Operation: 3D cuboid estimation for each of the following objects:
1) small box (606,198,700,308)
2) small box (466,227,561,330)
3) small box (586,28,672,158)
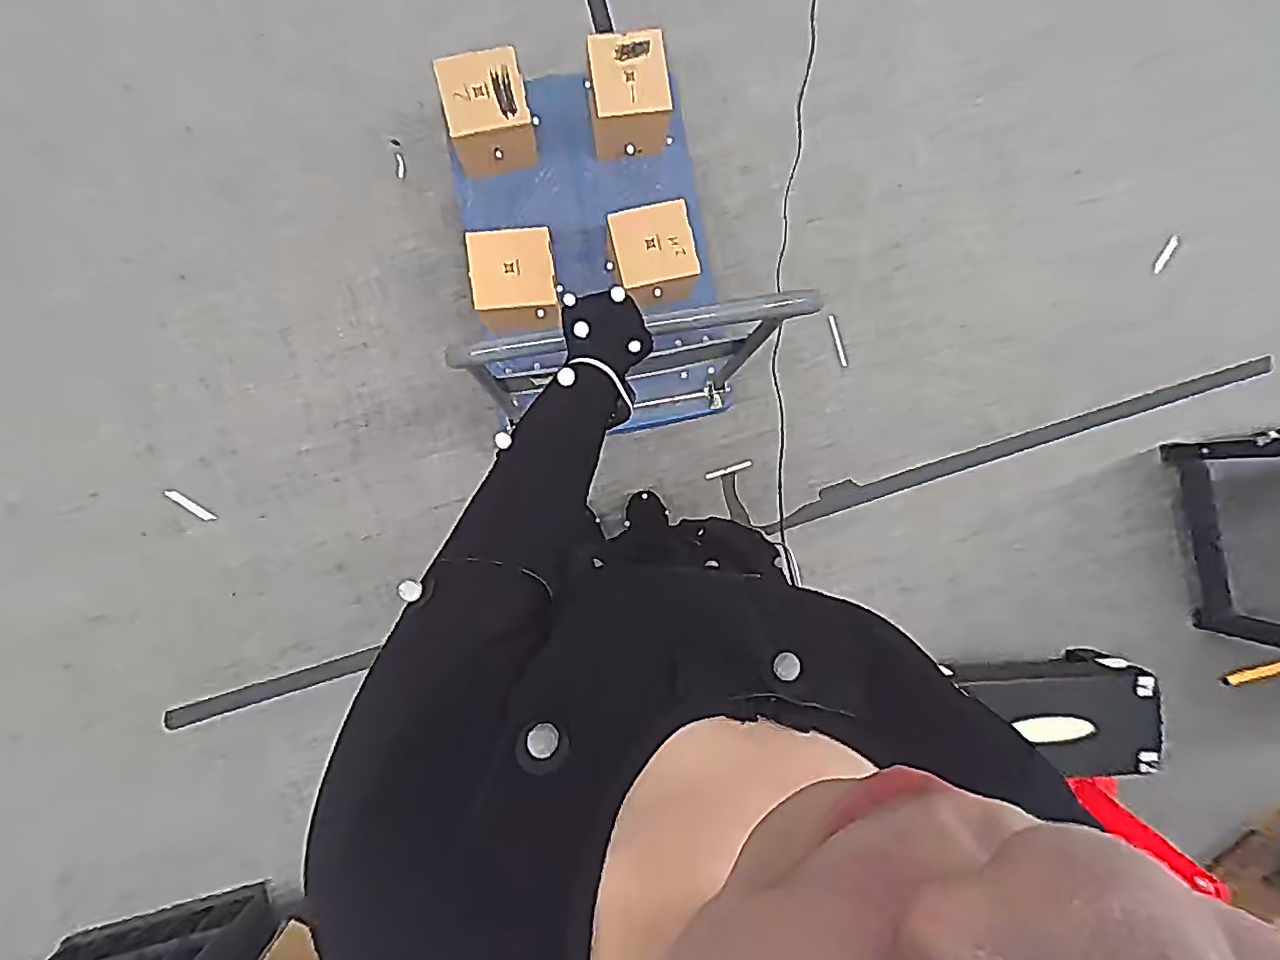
[{"bbox_3d":[0.024,-0.511,1.244,0.179,0.176,0.168,-14,92,-4],"label":"small box"},{"bbox_3d":[-0.278,-0.447,1.220,0.179,0.176,0.168,-8,91,-6],"label":"small box"},{"bbox_3d":[-0.031,-0.877,1.237,0.168,0.176,0.179,-9,92,-5],"label":"small box"}]
